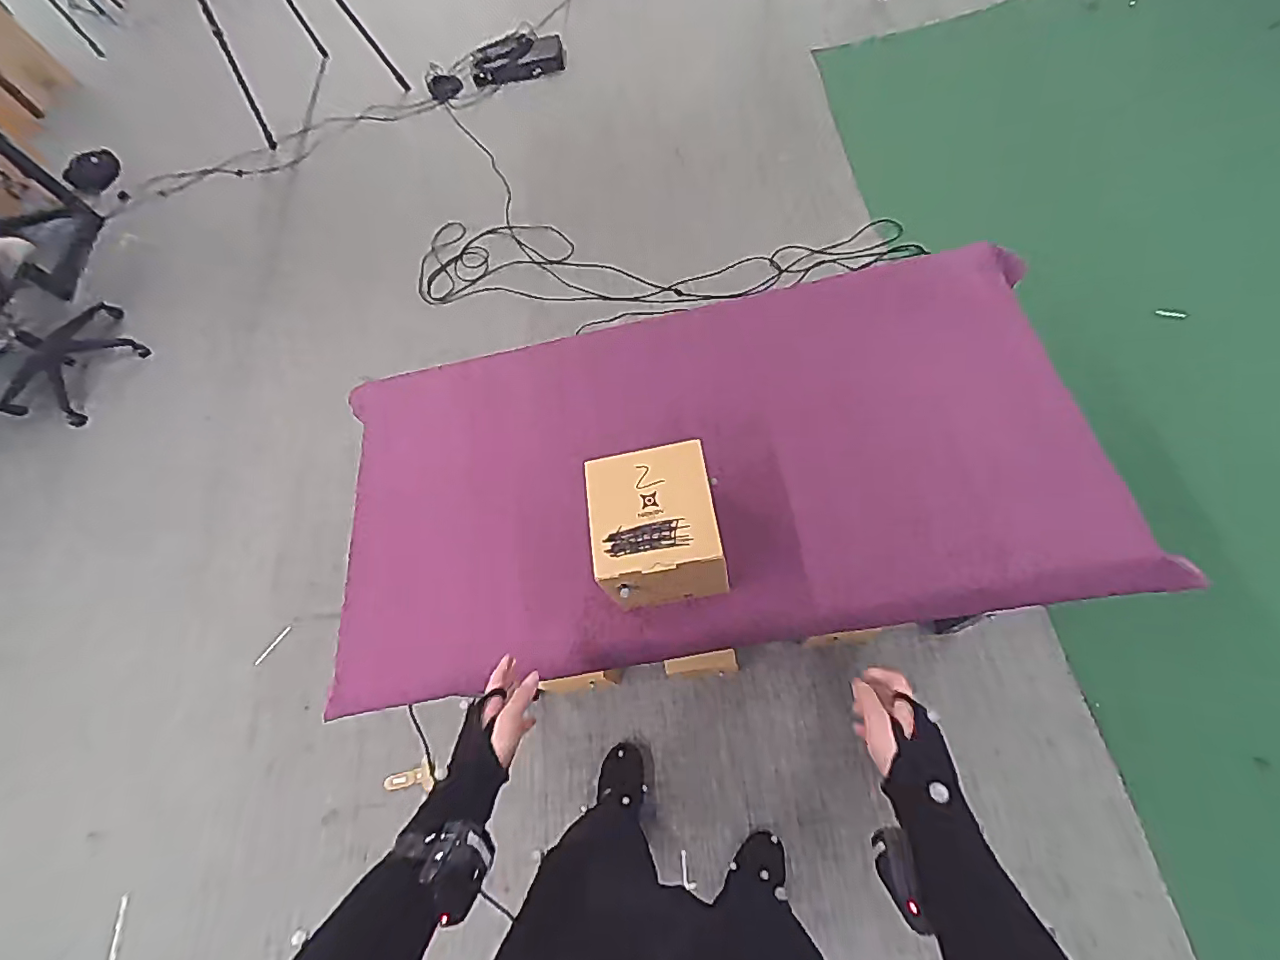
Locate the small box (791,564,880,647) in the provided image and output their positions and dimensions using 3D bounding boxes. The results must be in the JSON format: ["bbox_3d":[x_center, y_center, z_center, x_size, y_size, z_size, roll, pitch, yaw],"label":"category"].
[{"bbox_3d":[0.486,0.324,1.376,0.179,0.176,0.168,-8,64,8],"label":"small box"}]

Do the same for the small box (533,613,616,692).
[{"bbox_3d":[-0.173,0.465,1.443,0.179,0.176,0.168,-11,64,6],"label":"small box"}]

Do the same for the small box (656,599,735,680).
[{"bbox_3d":[0.146,0.416,1.402,0.179,0.176,0.168,-10,63,7],"label":"small box"}]
